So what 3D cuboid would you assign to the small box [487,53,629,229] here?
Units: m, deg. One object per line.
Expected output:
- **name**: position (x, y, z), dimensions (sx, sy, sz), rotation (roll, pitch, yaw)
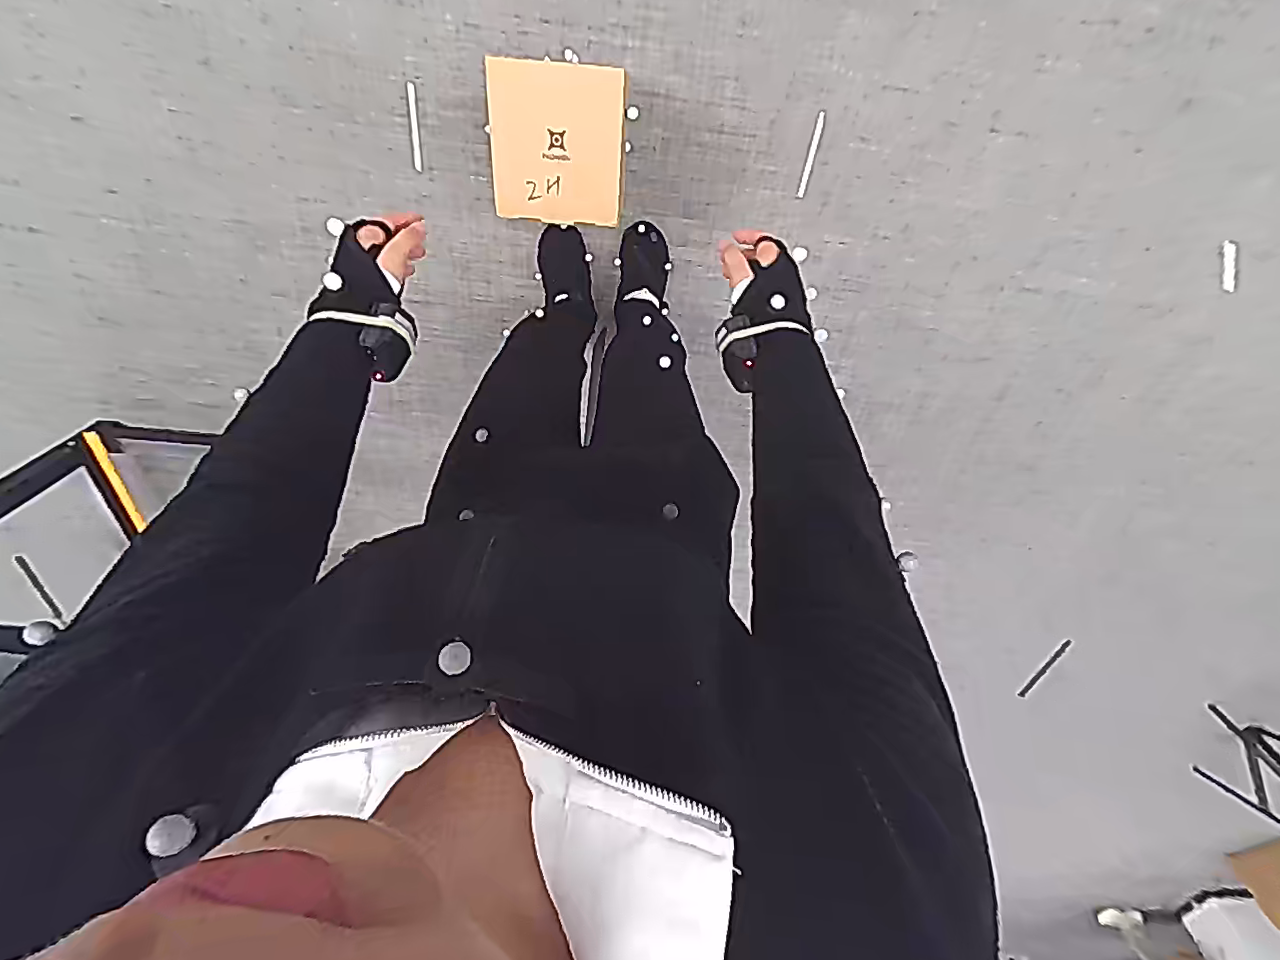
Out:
- **small box**: position (-0.103, -0.461, 0.740), dimensions (0.168, 0.176, 0.179), rotation (5, 126, -1)
